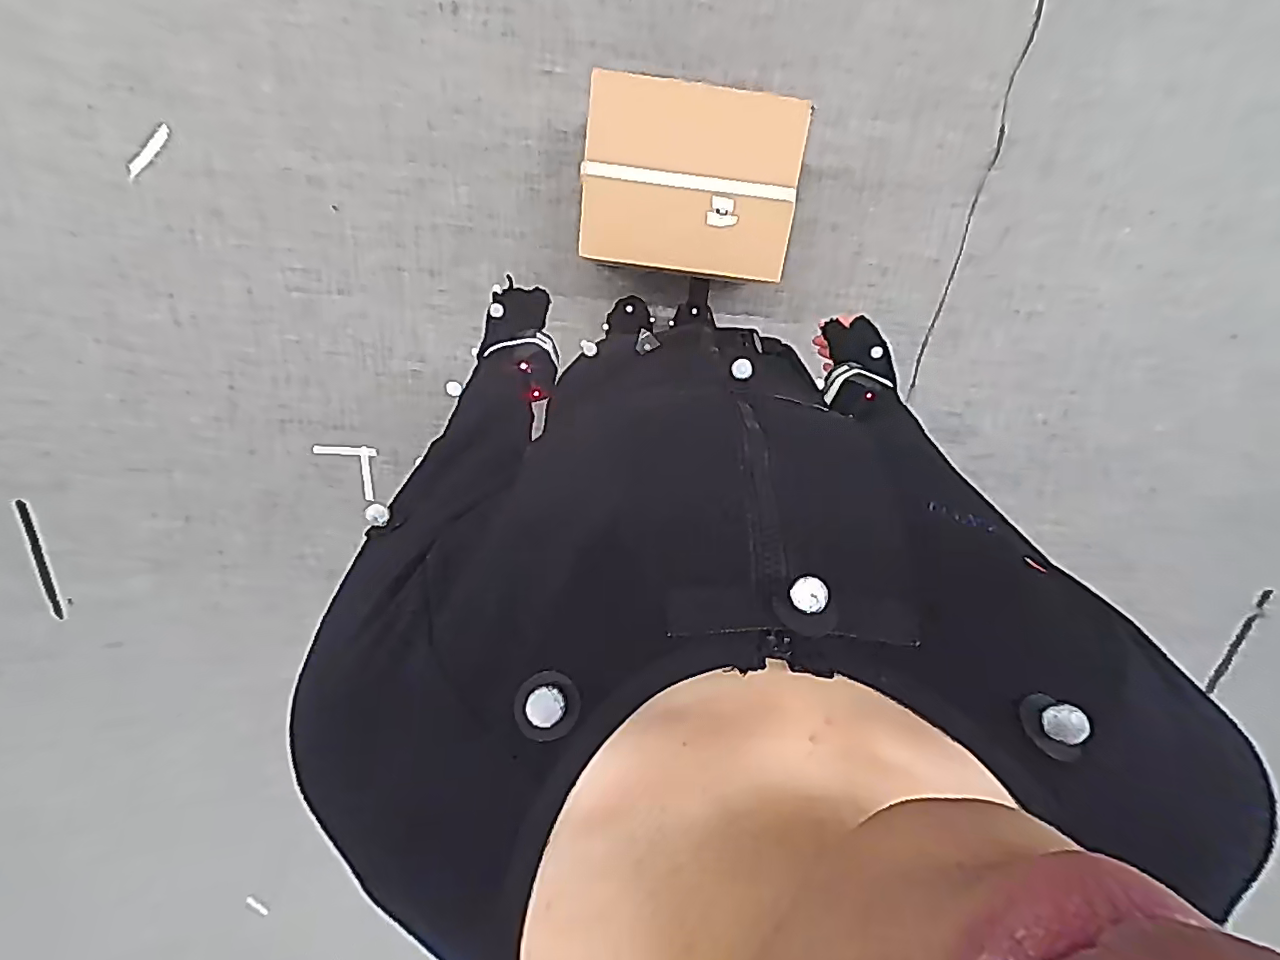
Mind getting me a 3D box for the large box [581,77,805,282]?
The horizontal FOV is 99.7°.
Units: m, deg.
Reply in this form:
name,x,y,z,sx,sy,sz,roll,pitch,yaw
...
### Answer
name,x,y,z,sx,sy,sz,roll,pitch,yaw
large box,0.088,-0.612,1.167,0.408,0.320,0.320,5,110,-3
